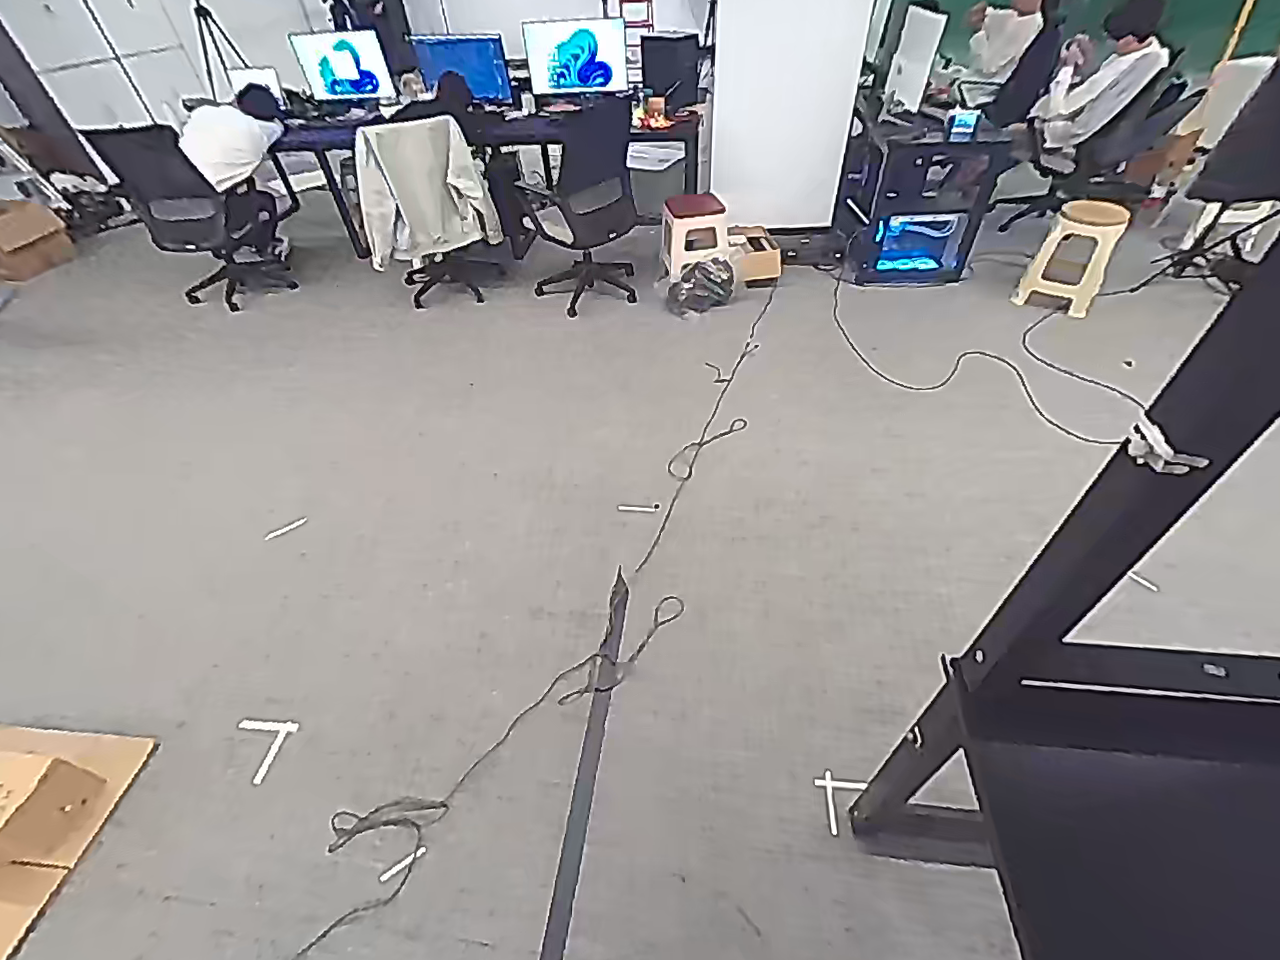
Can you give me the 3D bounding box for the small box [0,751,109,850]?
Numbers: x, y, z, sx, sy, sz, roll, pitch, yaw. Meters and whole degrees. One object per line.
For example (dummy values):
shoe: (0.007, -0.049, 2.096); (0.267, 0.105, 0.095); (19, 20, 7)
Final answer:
small box: (-1.490, 0.785, 1.321); (0.179, 0.176, 0.168); (3, 46, 6)
